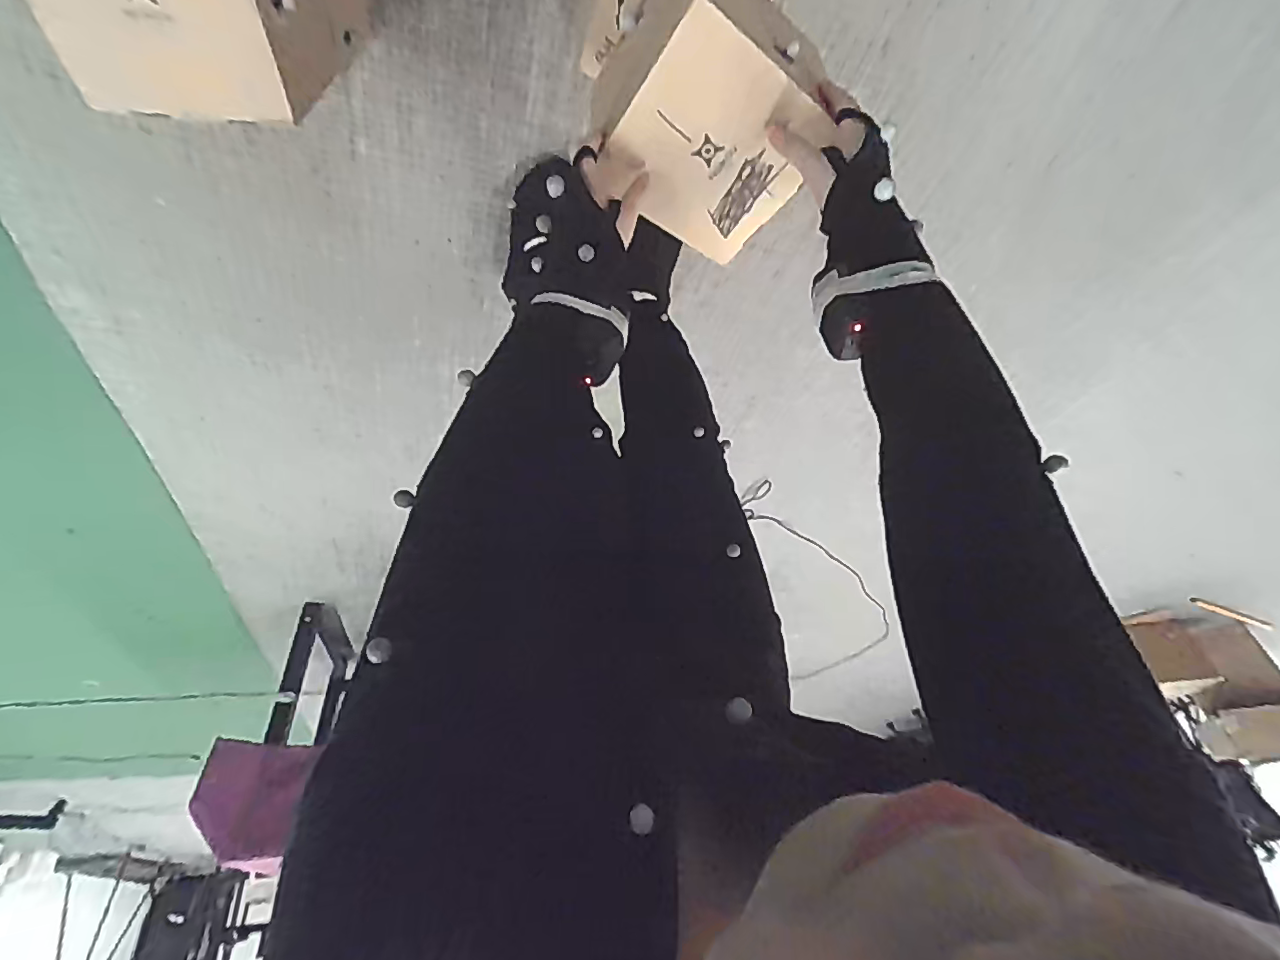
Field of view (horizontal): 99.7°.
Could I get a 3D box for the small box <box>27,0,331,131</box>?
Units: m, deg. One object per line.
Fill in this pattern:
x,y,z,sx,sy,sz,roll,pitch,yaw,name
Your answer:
-0.393,-0.436,0.465,0.168,0.176,0.179,0,141,-10,small box

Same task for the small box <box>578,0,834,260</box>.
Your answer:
0.058,-0.366,0.530,0.179,0.176,0.168,20,144,-29,small box

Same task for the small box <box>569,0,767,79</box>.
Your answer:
0.024,-0.562,0.640,0.179,0.176,0.168,11,138,-23,small box
